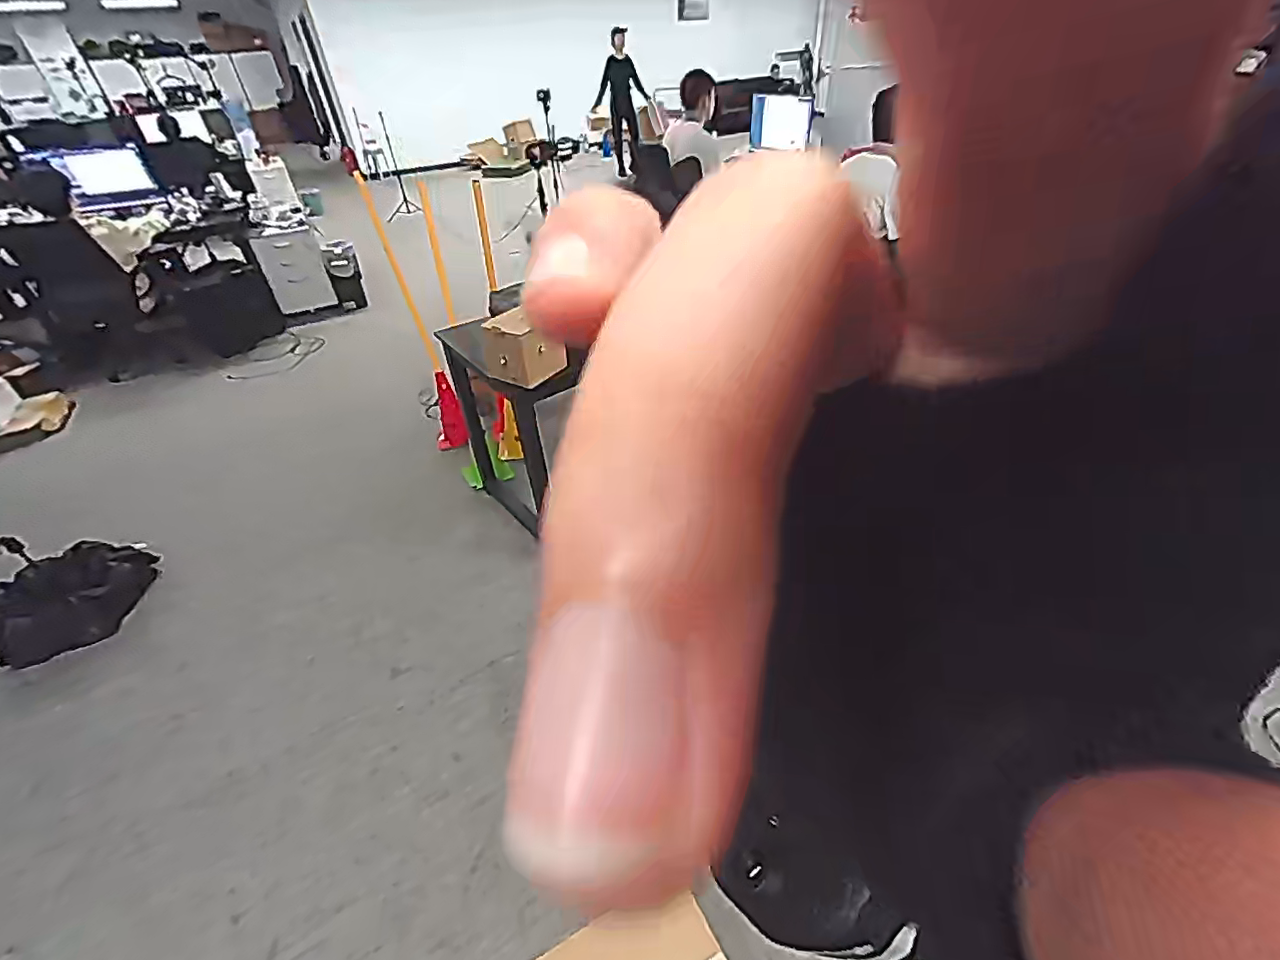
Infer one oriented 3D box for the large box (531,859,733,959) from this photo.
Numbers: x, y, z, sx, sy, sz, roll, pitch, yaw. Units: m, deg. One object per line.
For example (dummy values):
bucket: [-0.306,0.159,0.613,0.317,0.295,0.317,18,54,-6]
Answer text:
large box: [-0.015,0.986,0.947,0.408,0.320,0.320,-21,42,-19]
